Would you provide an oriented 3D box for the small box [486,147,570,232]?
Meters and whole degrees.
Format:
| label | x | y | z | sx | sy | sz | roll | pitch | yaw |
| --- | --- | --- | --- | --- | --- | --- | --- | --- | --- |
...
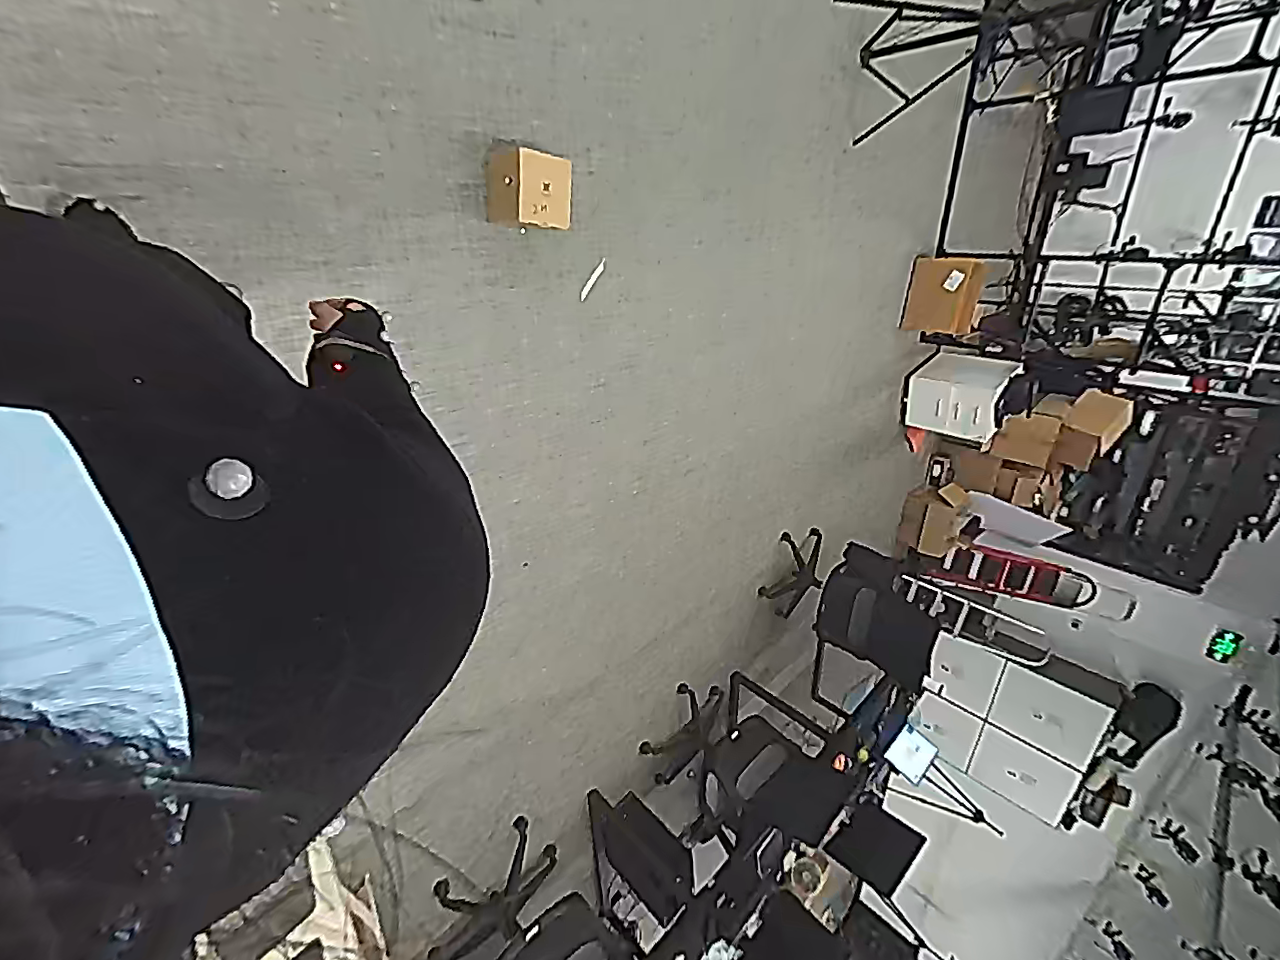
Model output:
| label | x | y | z | sx | sy | sz | roll | pitch | yaw |
| --- | --- | --- | --- | --- | --- | --- | --- | --- | --- |
| small box | -0.310 | -0.791 | 1.488 | 0.168 | 0.176 | 0.179 | -12 | 116 | -42 |
